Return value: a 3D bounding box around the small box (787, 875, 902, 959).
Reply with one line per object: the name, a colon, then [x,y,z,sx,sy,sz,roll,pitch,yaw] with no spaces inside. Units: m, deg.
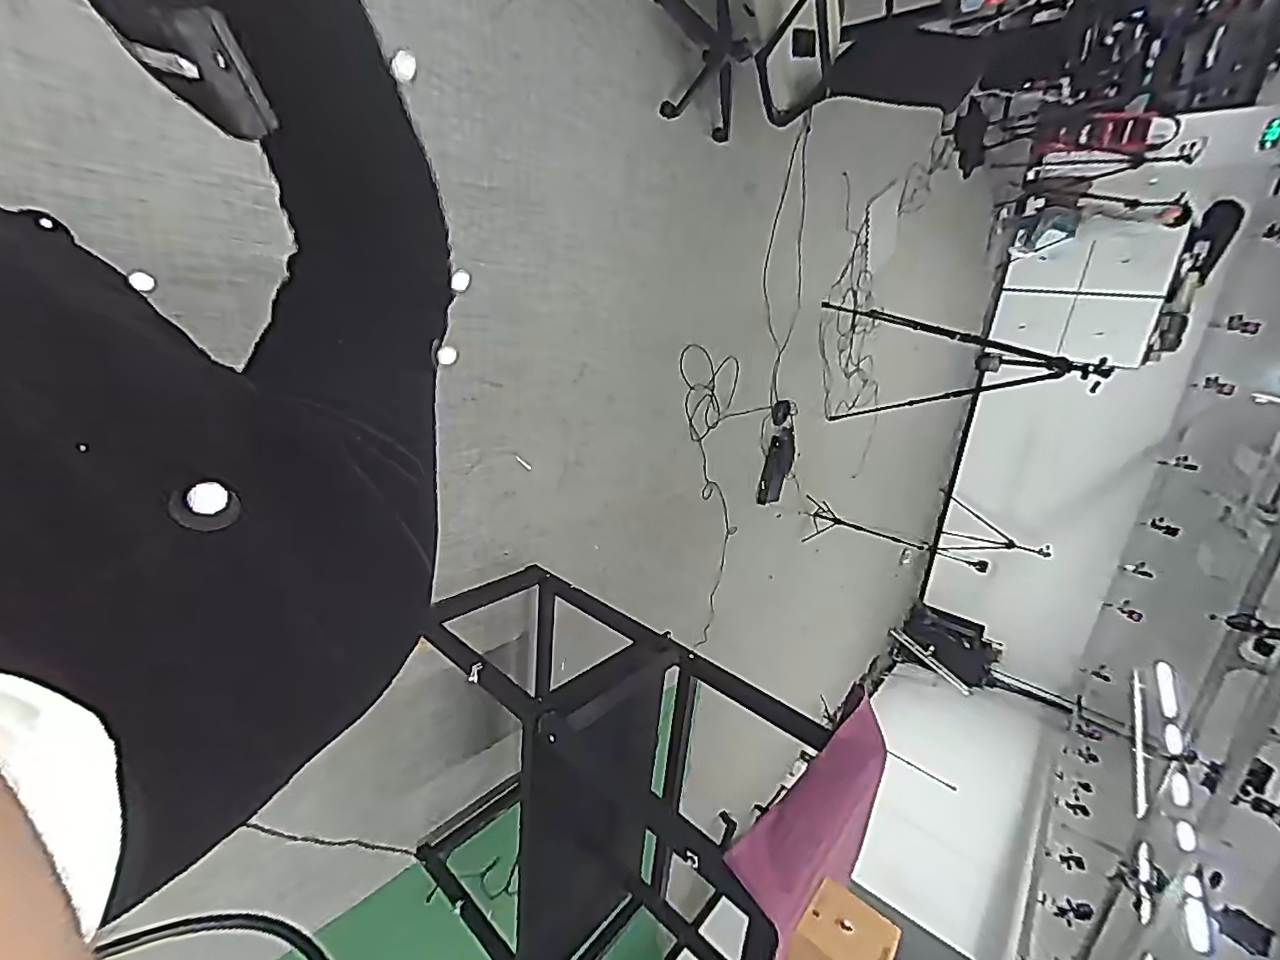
small box: [0.428,0.992,1.147,0.168,0.176,0.179,-11,114,-48]
